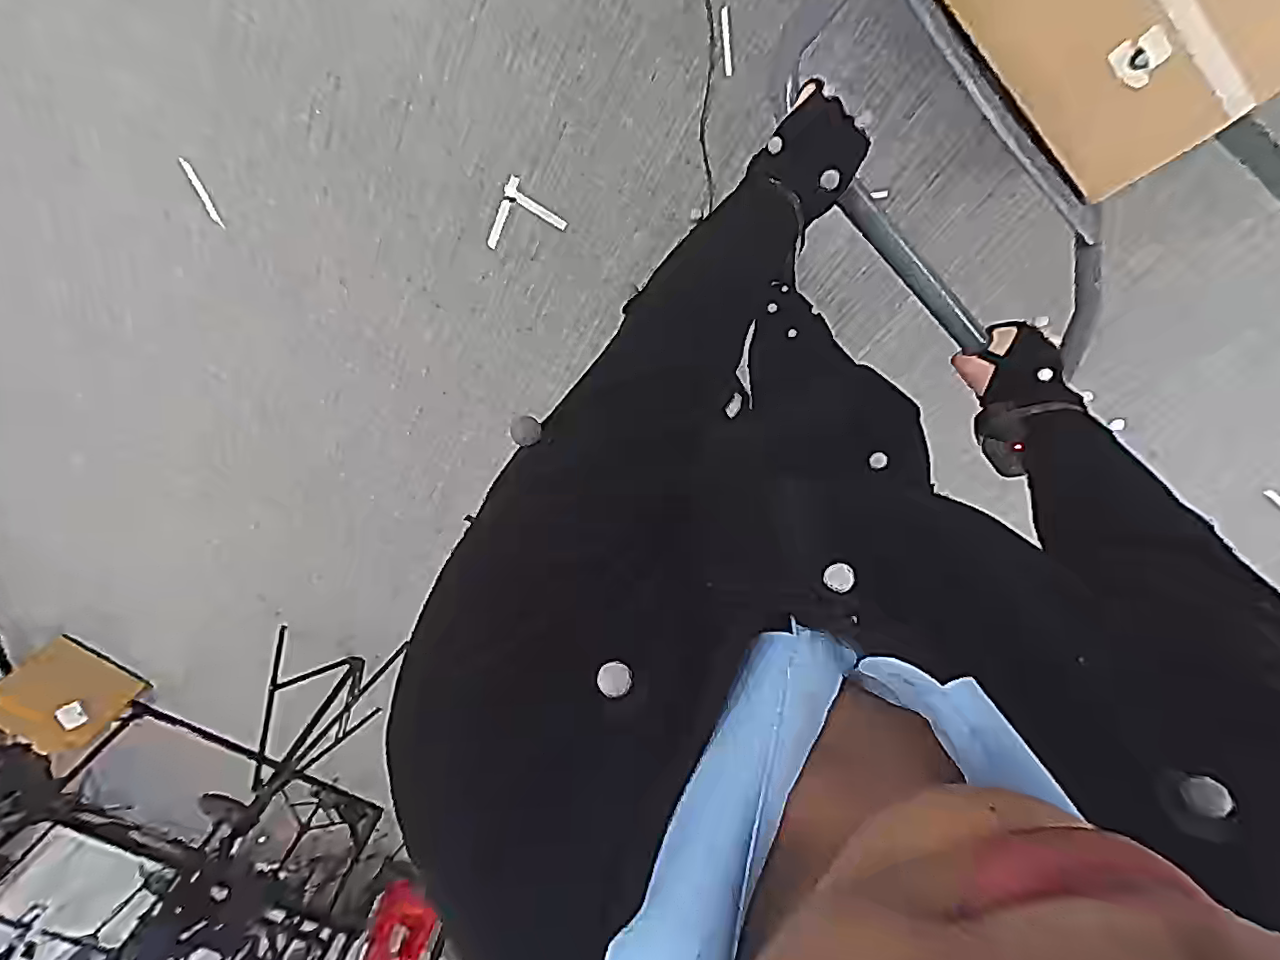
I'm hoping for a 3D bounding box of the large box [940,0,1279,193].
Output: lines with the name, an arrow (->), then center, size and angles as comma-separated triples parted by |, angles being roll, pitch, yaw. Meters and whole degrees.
large box -> 0.632, -0.684, 0.691 | 0.408, 0.320, 0.320 | 39, 145, -15
